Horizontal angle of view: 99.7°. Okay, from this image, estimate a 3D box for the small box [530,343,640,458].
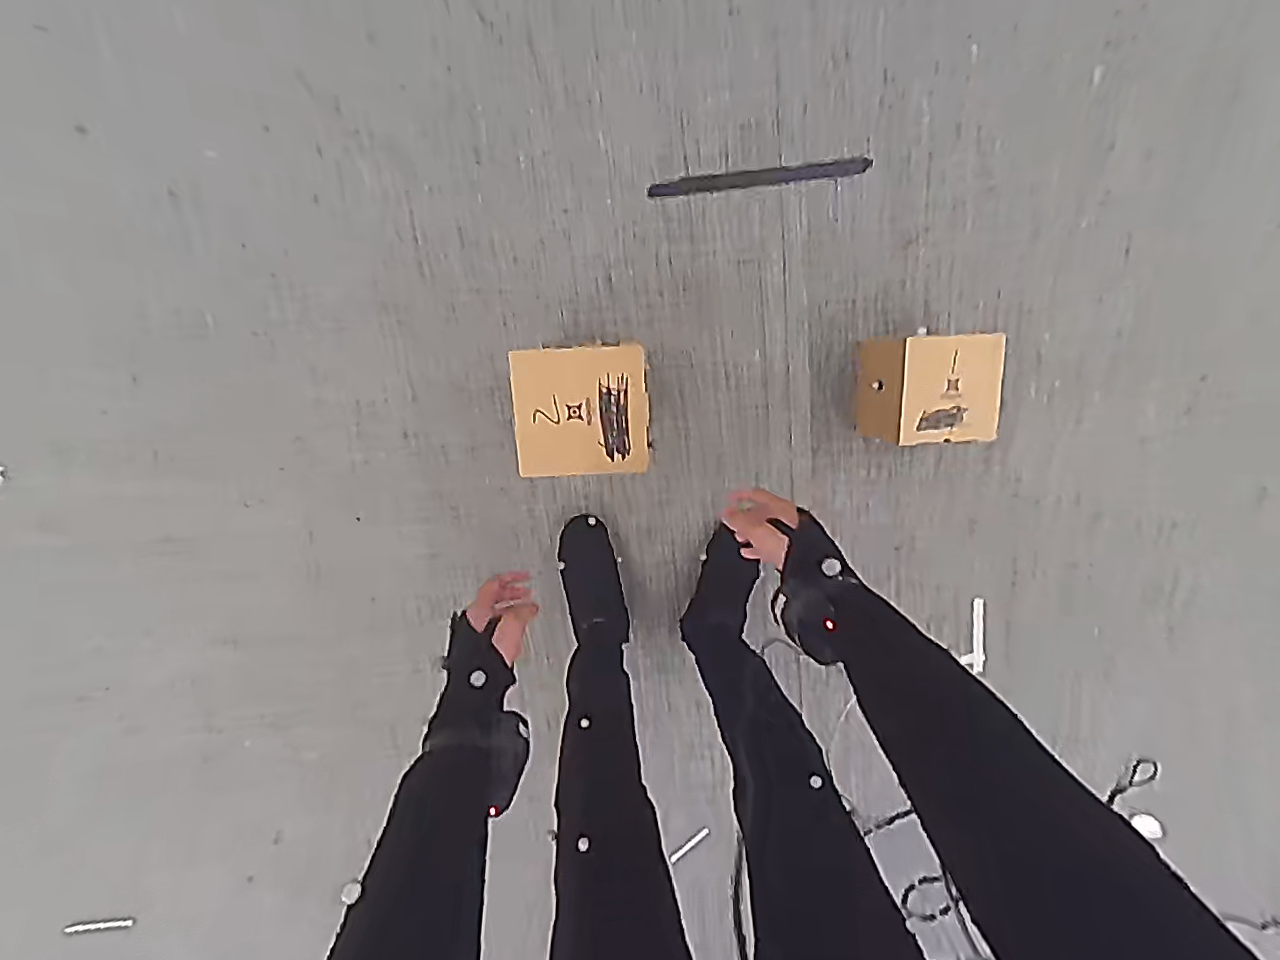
[{"bbox_3d":[-0.085,-0.141,0.927,0.168,0.176,0.179,-4,102,-1],"label":"small box"}]

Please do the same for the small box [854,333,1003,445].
[{"bbox_3d":[0.488,-0.163,0.943,0.168,0.176,0.179,-3,102,-2],"label":"small box"}]
